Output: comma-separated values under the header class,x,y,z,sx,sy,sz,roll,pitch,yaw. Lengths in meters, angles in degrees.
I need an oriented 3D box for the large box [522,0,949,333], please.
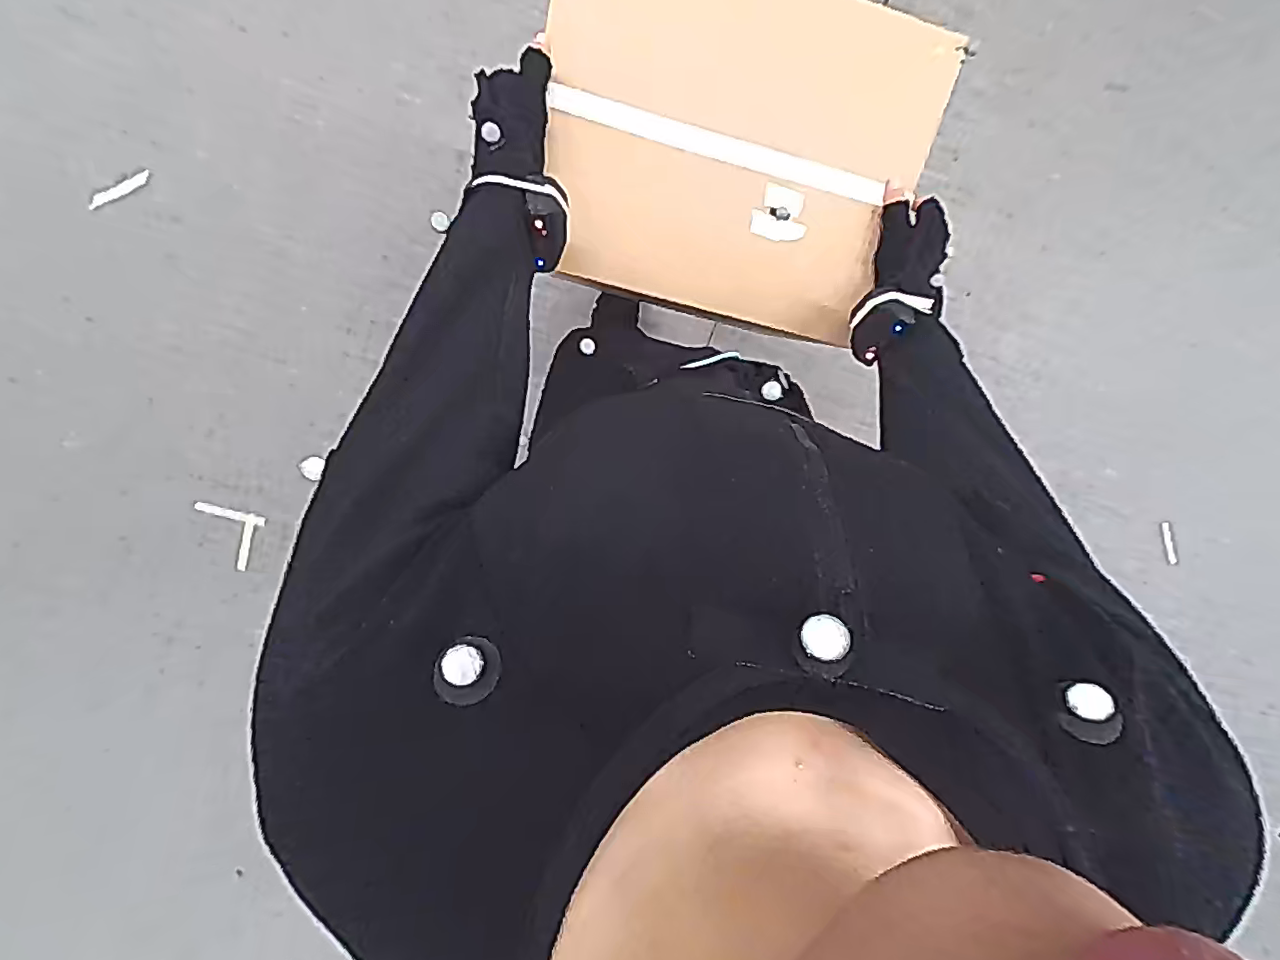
class,x,y,z,sx,sy,sz,roll,pitch,yaw
large box,0.082,-0.397,0.712,0.408,0.320,0.320,12,108,-9
